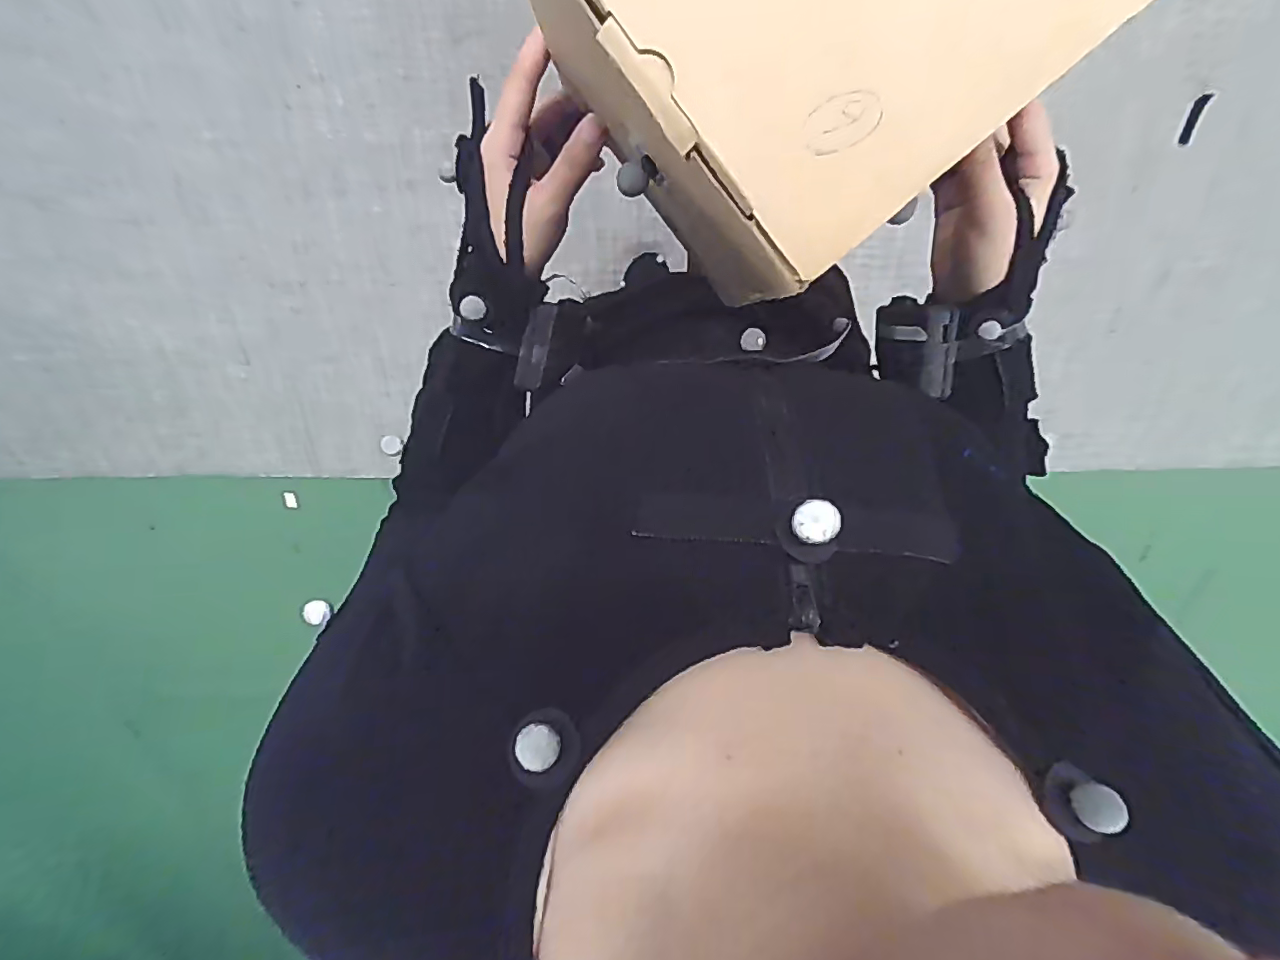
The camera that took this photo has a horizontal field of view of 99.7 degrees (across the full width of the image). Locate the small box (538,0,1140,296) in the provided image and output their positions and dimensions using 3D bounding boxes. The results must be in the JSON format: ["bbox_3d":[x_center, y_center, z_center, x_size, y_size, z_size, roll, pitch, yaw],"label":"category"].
[{"bbox_3d":[0.069,-0.200,0.235,0.179,0.176,0.168,-38,101,11],"label":"small box"}]
